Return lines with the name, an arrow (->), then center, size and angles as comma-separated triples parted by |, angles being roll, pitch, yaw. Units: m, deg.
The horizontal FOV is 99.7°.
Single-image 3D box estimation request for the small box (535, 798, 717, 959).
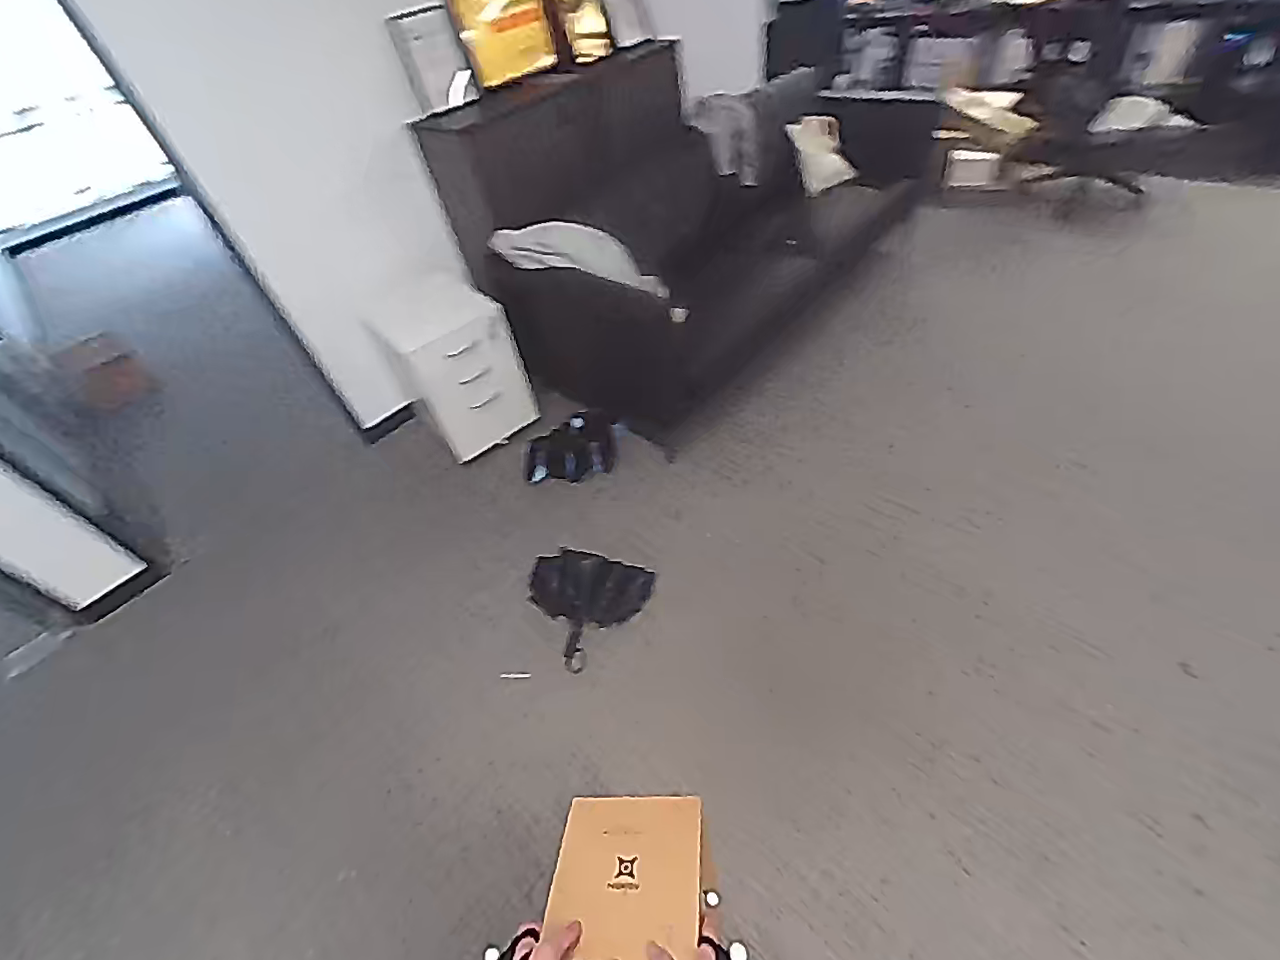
small box -> -0.003, 0.508, 0.624 | 0.168, 0.176, 0.179 | -8, 22, 9
